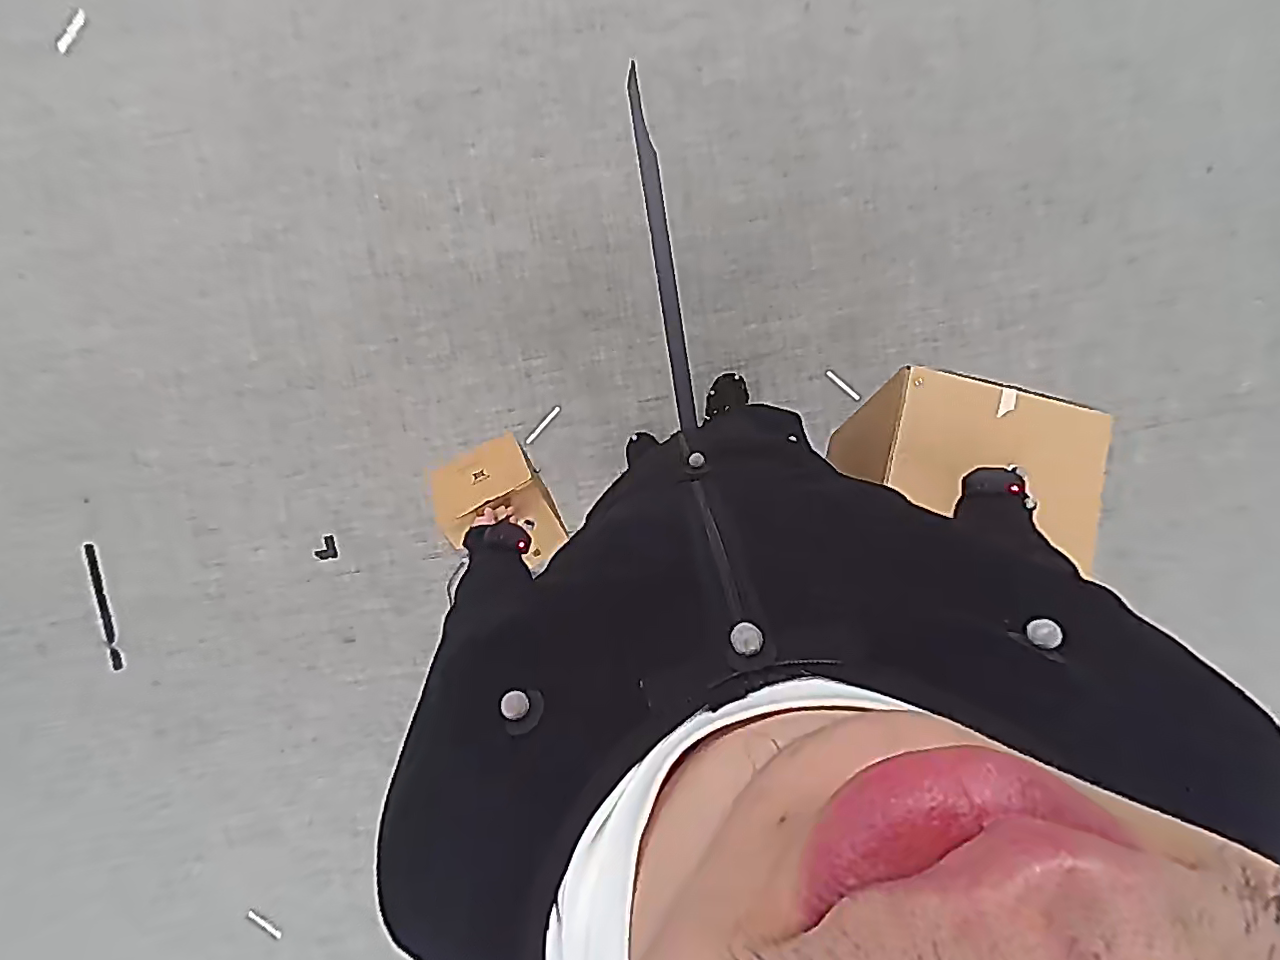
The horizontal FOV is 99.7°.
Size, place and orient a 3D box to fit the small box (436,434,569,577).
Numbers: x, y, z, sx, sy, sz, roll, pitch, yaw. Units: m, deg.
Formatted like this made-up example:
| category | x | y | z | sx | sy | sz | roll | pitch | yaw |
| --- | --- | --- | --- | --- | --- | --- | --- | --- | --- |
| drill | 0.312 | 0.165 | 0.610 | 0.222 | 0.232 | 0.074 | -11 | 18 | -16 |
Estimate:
| category | x | y | z | sx | sy | sz | roll | pitch | yaw |
| --- | --- | --- | --- | --- | --- | --- | --- | --- | --- |
| small box | -0.247 | 0.052 | 0.982 | 0.168 | 0.179 | 0.176 | -28 | 127 | -7 |
